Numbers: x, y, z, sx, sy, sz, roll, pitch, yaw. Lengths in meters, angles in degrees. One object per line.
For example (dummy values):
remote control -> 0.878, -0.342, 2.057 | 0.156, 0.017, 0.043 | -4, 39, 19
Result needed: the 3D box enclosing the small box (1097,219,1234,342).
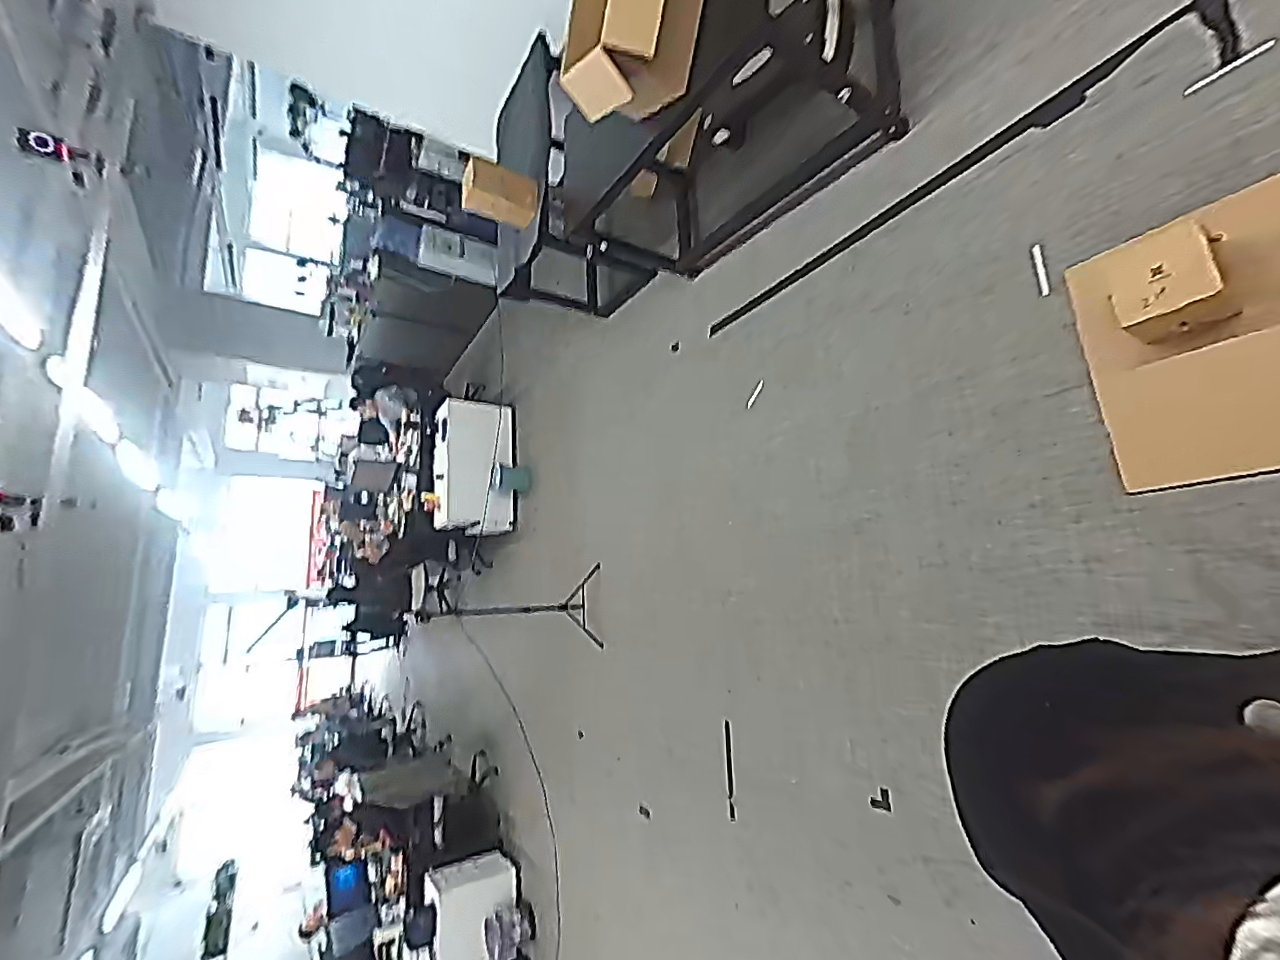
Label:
small box -> 1.161, -0.430, 1.197 | 0.168, 0.176, 0.179 | -24, 67, 54
